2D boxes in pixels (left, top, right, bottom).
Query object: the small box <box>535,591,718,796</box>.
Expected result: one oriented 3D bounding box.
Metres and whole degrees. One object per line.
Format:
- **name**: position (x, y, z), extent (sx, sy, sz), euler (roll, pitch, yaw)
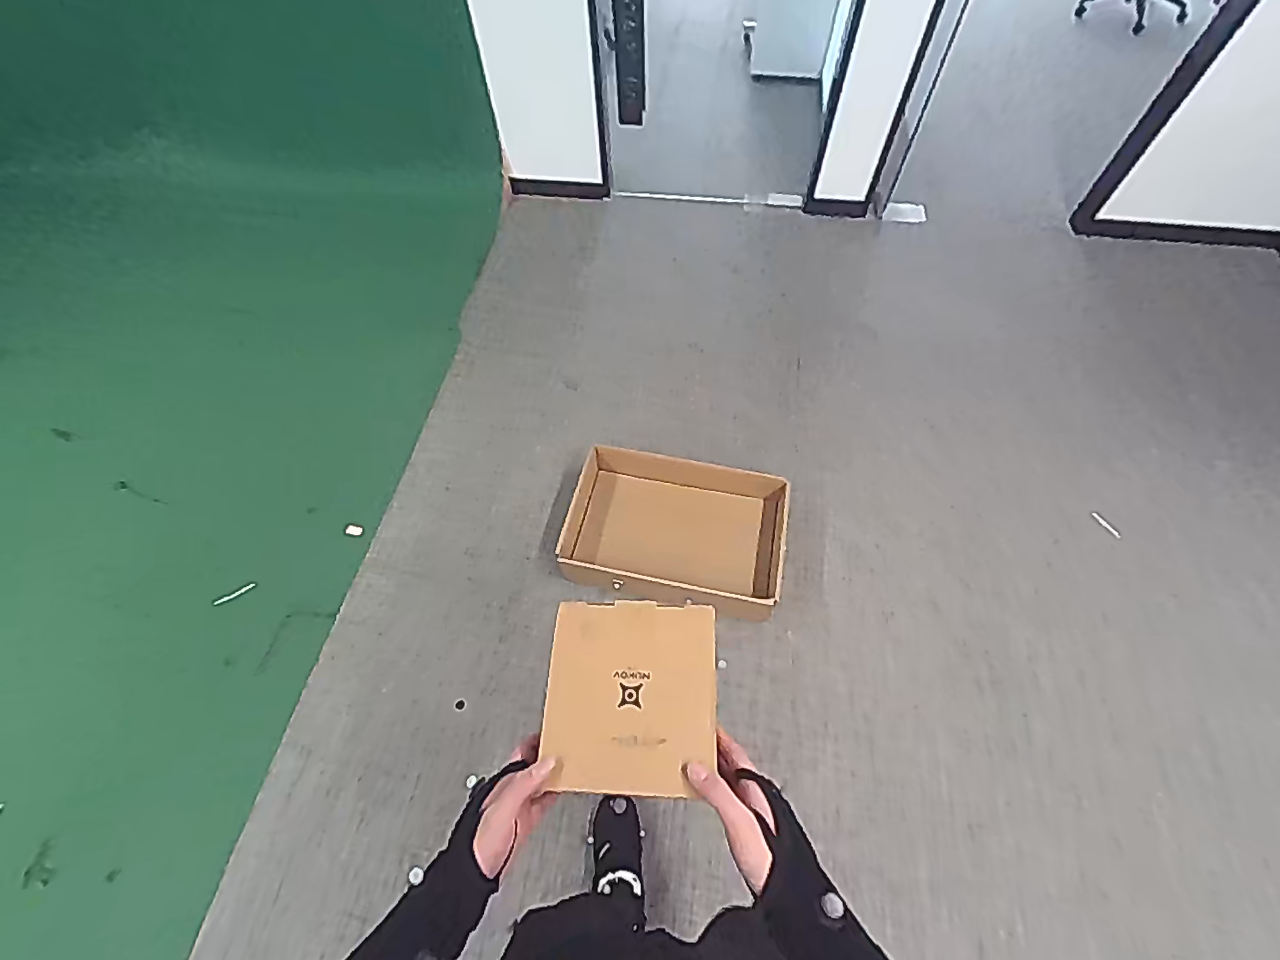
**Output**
- **small box**: position (-0.003, 0.235, 0.586), extent (0.168, 0.176, 0.179), euler (1, 60, 5)
